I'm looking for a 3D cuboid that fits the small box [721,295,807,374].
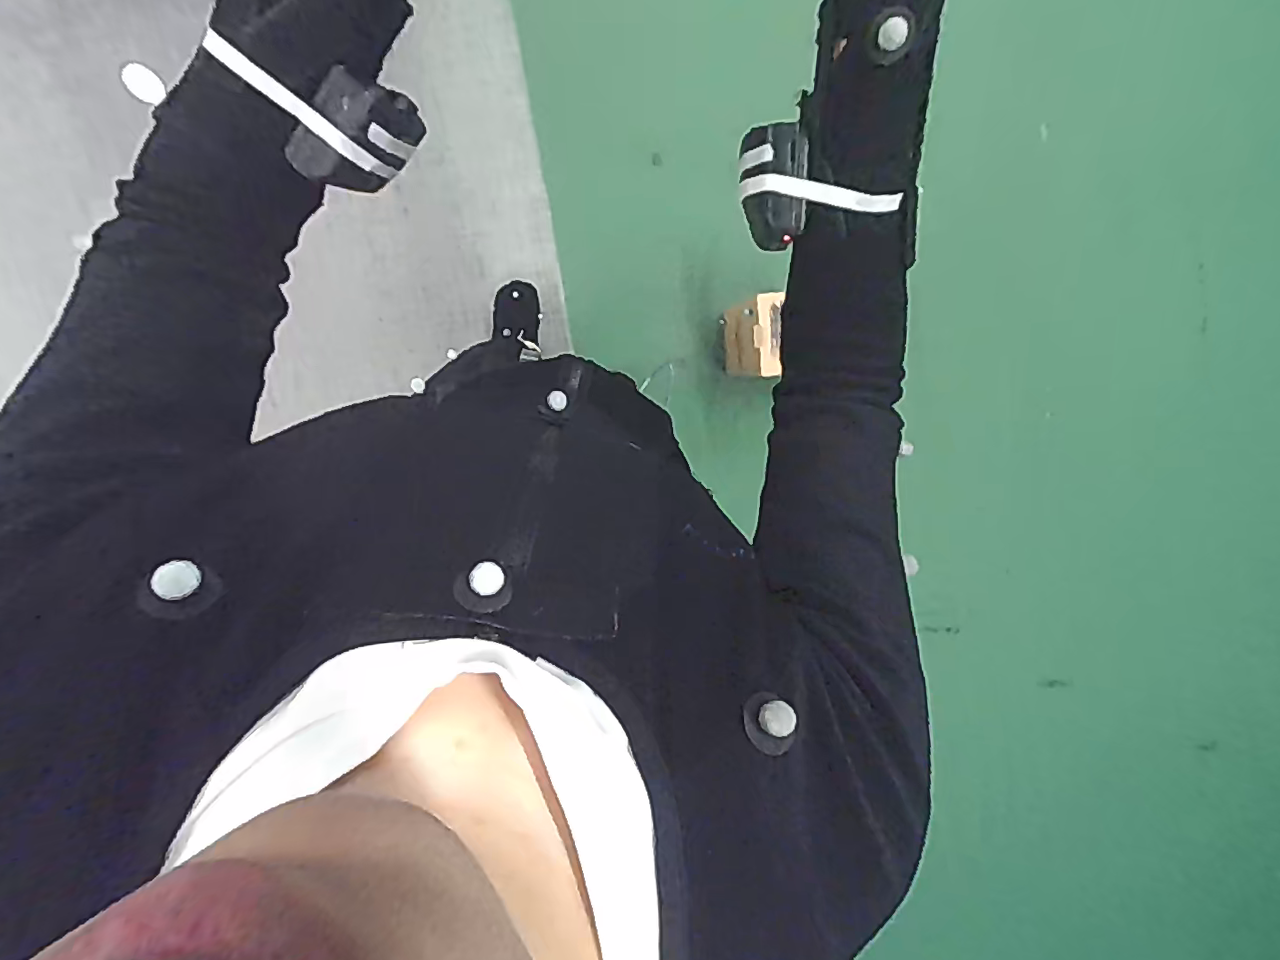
[{"bbox_3d":[0.301,-0.355,1.346,0.179,0.176,0.168,-8,103,0],"label":"small box"}]
